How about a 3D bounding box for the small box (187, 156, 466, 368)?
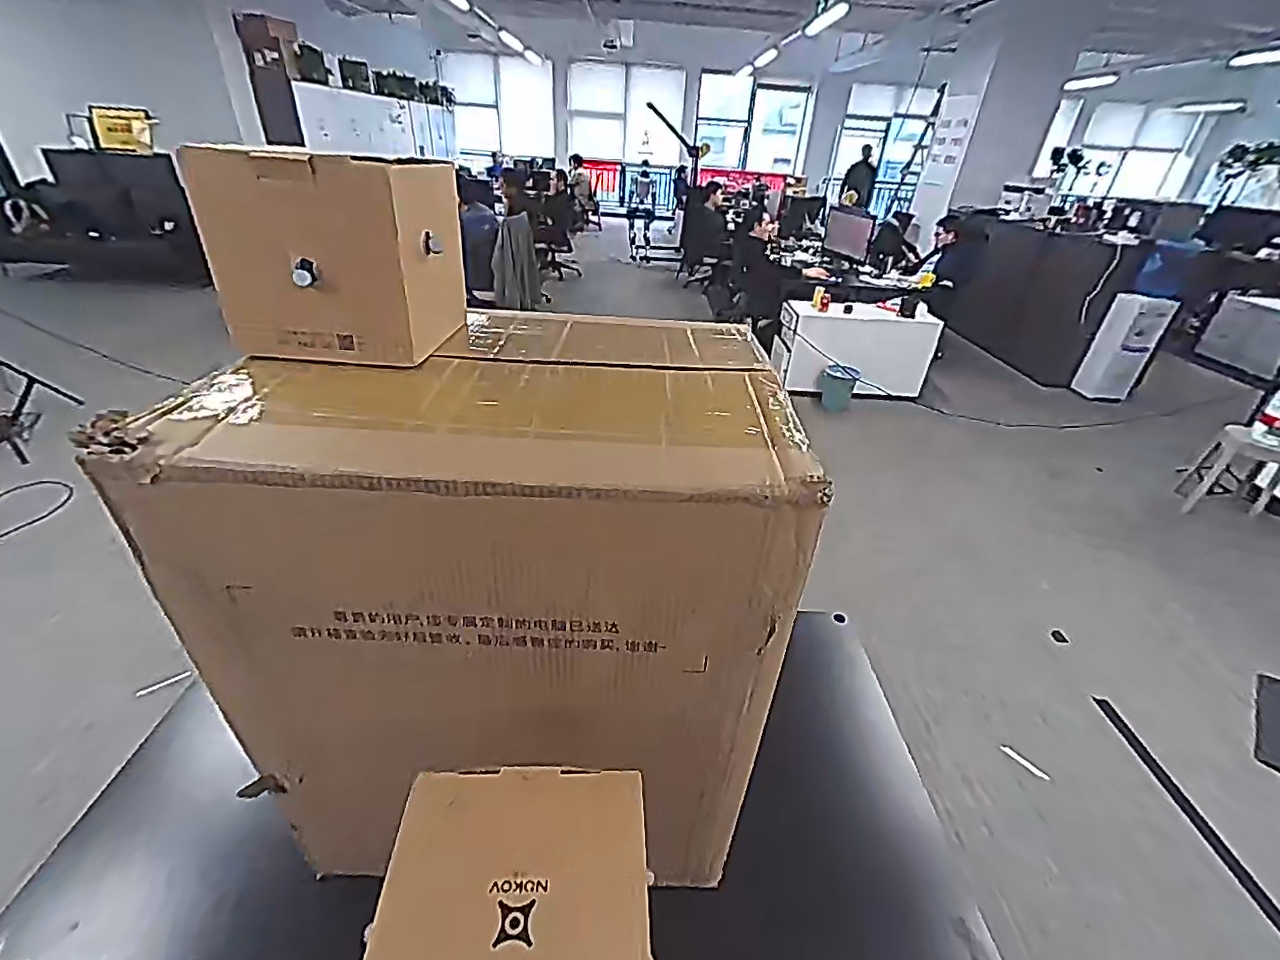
[{"bbox_3d":[-0.281,-0.219,0.539,0.168,0.176,0.179,4,30,-2],"label":"small box"}]
